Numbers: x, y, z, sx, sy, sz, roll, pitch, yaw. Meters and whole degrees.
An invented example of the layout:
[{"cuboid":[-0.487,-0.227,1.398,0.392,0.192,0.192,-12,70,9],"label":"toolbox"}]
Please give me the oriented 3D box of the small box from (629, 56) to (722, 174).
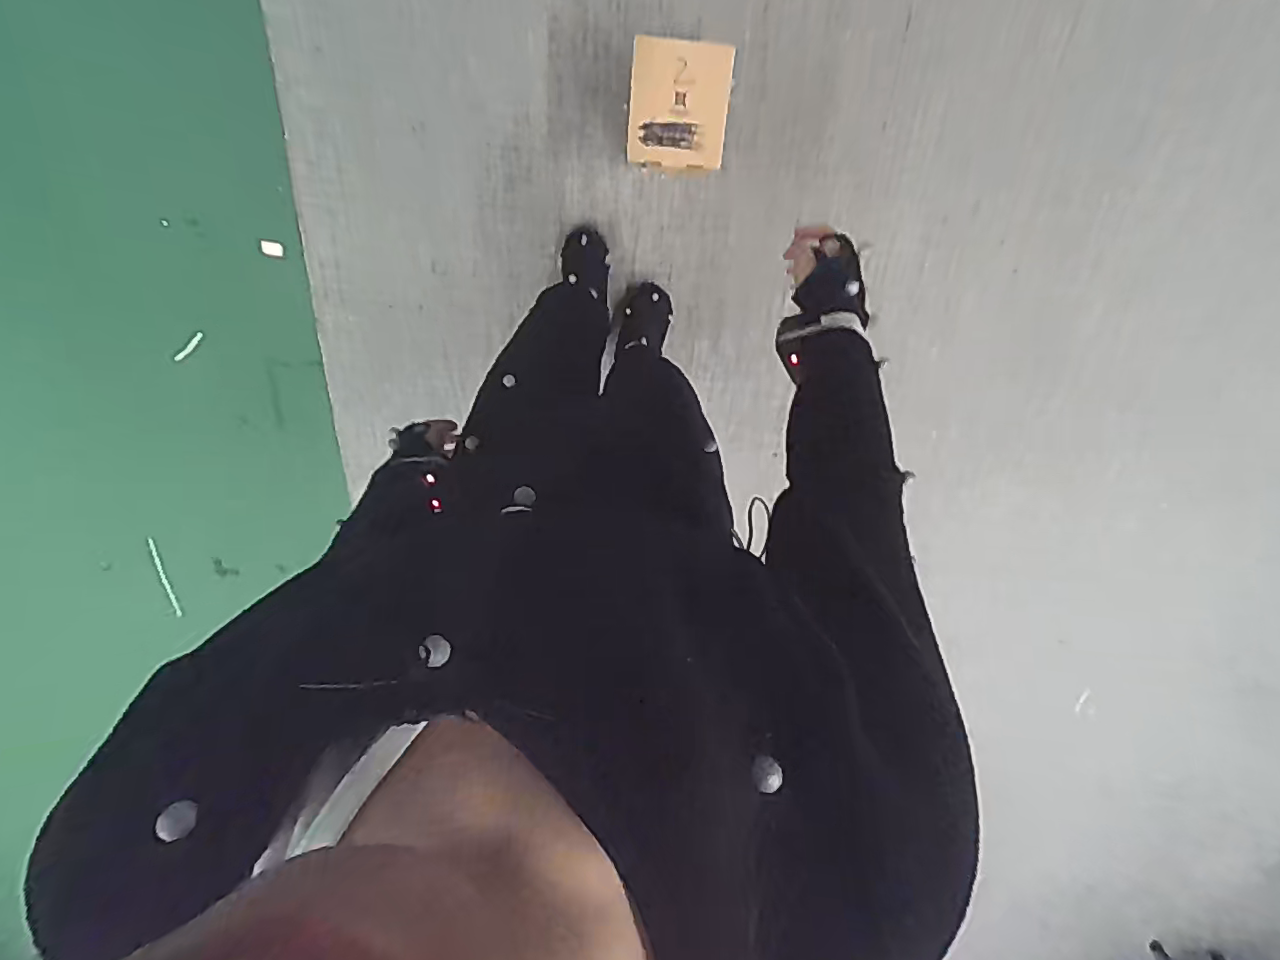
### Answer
[{"cuboid":[0.064,-0.743,1.117,0.168,0.176,0.179,4,118,-2],"label":"small box"}]
